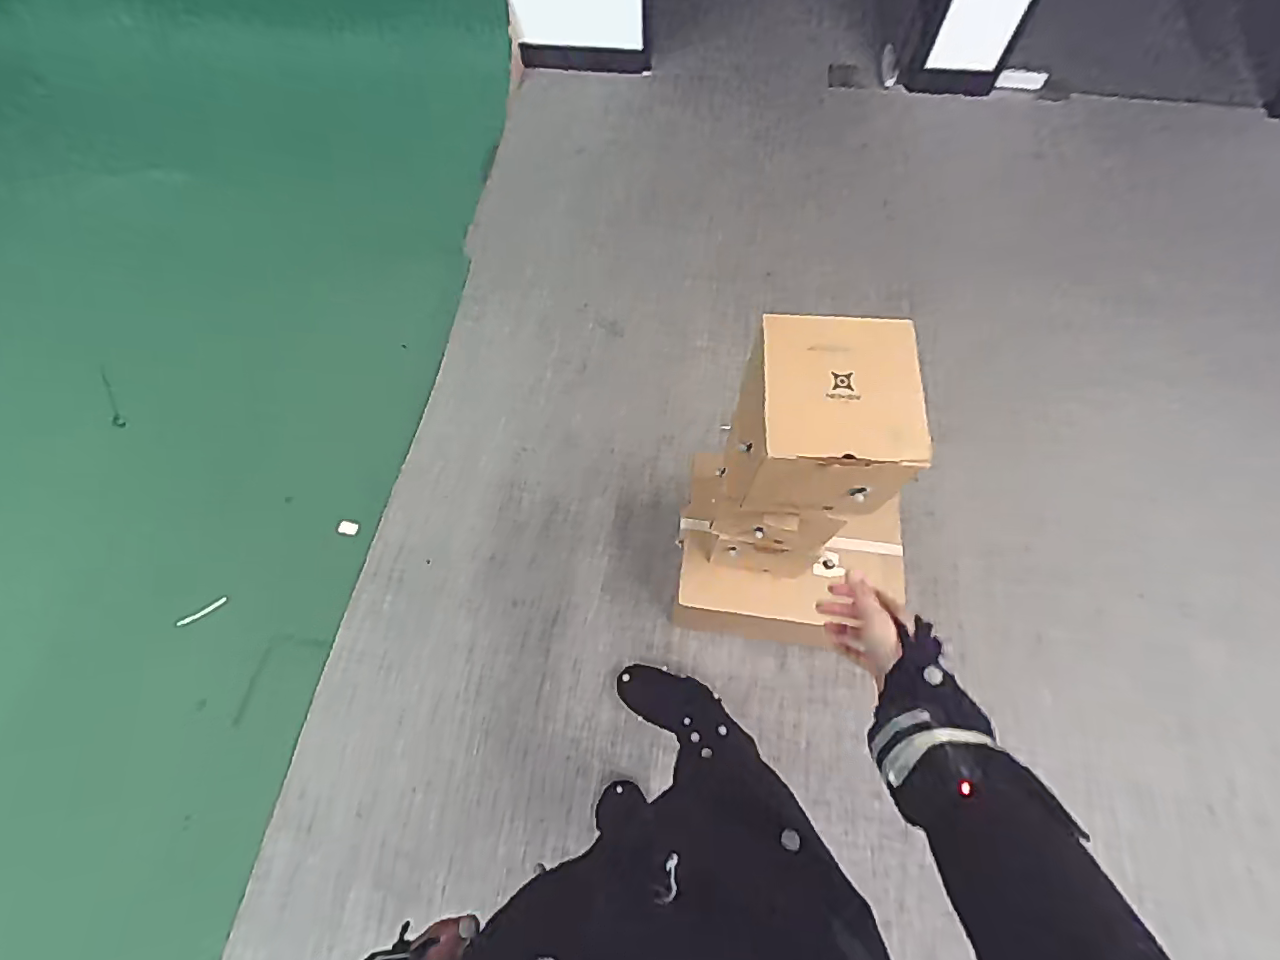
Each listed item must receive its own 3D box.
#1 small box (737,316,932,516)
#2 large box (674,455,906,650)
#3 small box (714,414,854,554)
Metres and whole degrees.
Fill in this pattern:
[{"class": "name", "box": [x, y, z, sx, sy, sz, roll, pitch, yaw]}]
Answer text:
[{"class": "small box", "box": [0.210, -0.065, 0.632, 0.168, 0.176, 0.179, 3, 67, 1]}, {"class": "large box", "box": [0.290, 0.167, 1.150, 0.408, 0.320, 0.320, 7, 69, 3]}, {"class": "small box", "box": [0.208, -0.010, 0.785, 0.168, 0.176, 0.179, 12, 69, 6]}]
